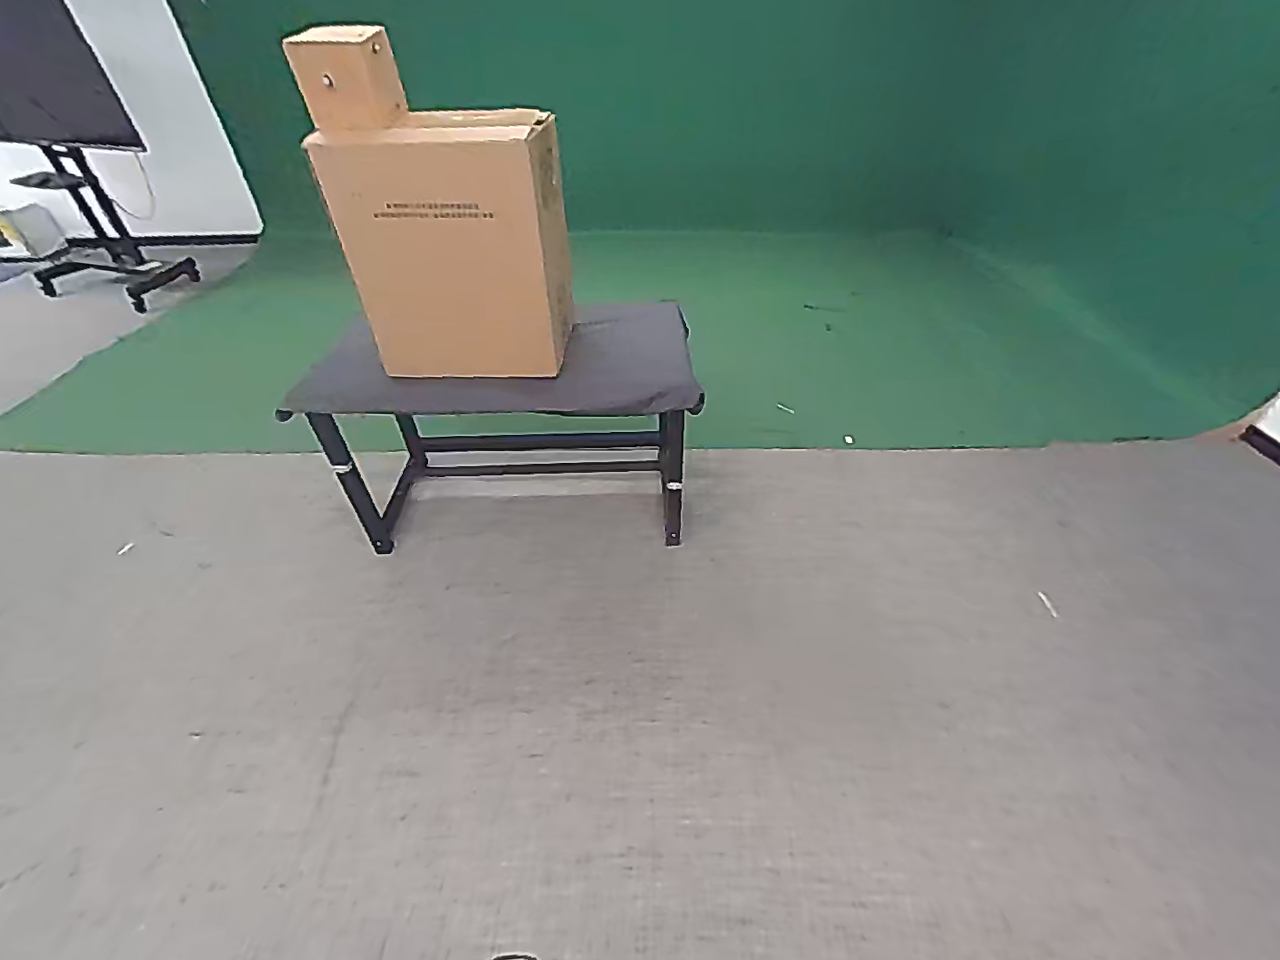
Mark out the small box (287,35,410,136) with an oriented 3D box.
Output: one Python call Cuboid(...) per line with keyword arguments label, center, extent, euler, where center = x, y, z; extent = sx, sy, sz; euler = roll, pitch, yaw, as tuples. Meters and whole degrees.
Cuboid(label="small box", center=(-0.687, -0.944, 1.298), extent=(0.179, 0.176, 0.168), euler=(0, 49, 3))
